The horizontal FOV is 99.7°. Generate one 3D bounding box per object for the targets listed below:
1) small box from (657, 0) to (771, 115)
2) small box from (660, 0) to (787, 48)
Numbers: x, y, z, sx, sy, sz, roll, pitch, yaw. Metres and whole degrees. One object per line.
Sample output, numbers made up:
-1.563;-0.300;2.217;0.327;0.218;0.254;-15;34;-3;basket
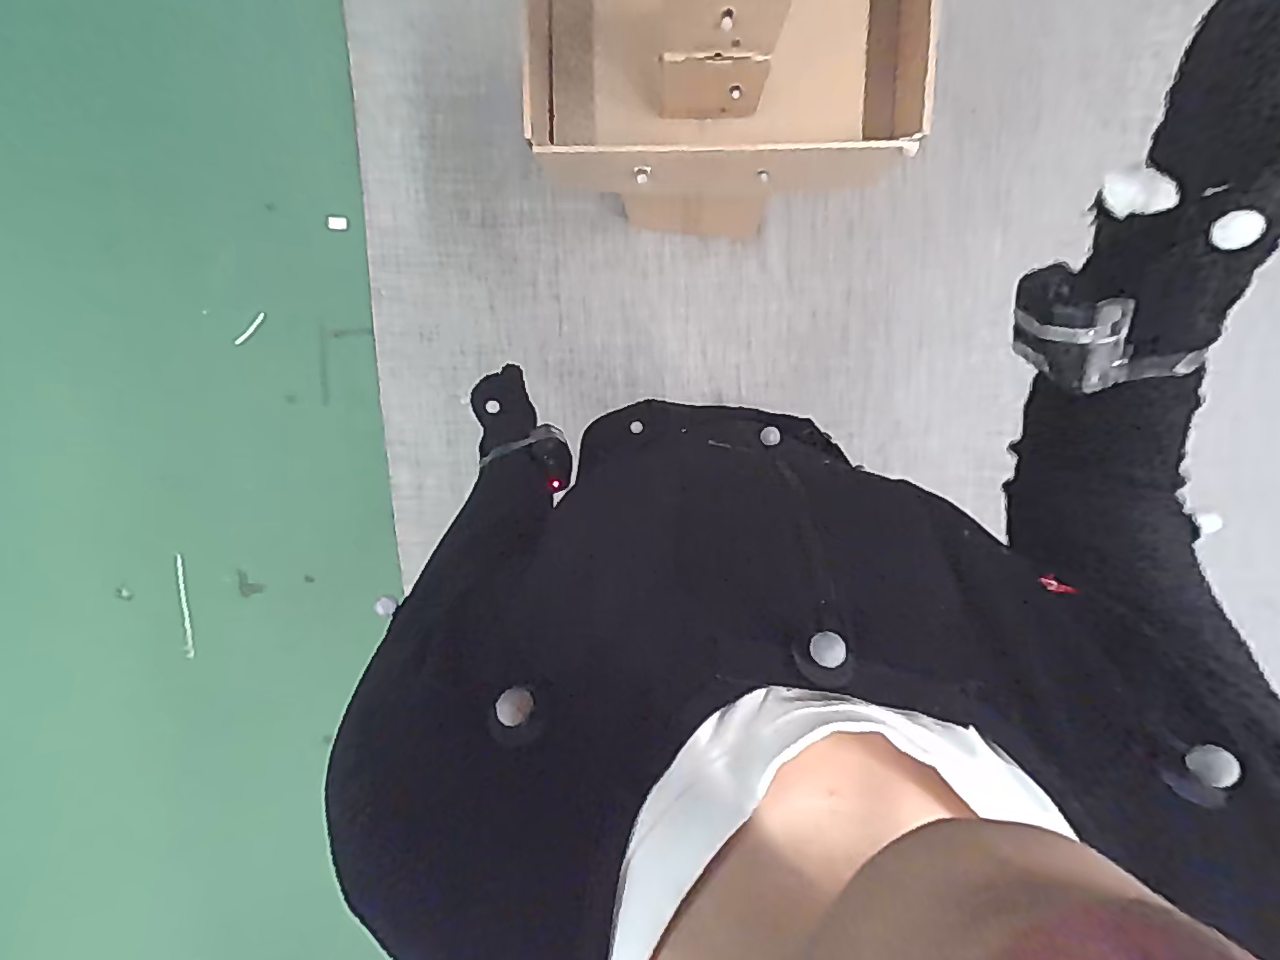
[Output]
0.113;-0.713;0.860;0.168;0.176;0.179;-1;96;1;small box
0.111;-0.698;0.697;0.168;0.176;0.179;0;99;1;small box
